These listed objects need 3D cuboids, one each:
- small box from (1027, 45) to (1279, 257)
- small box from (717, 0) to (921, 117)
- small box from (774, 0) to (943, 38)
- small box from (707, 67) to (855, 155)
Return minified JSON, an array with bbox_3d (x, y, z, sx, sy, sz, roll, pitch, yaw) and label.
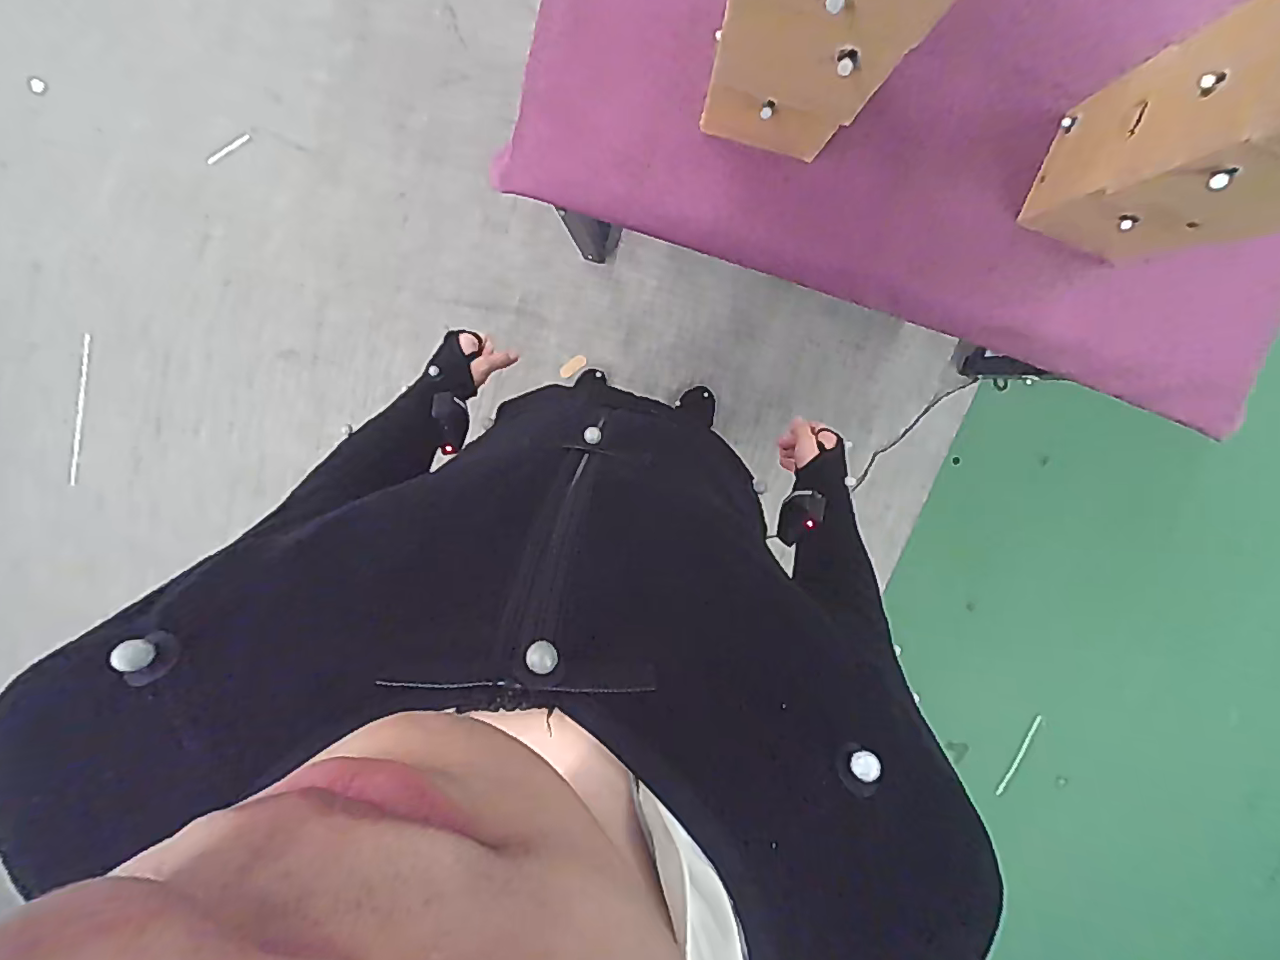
[{"bbox_3d":[0.676,-0.418,0.722,0.179,0.176,0.168,20,101,-3],"label":"small box"},{"bbox_3d":[0.191,-0.510,0.552,0.179,0.176,0.168,17,101,-2],"label":"small box"},{"bbox_3d":[0.187,-0.474,0.393,0.179,0.176,0.168,16,101,-2],"label":"small box"},{"bbox_3d":[0.198,-0.559,0.711,0.179,0.176,0.168,16,102,-1],"label":"small box"}]
